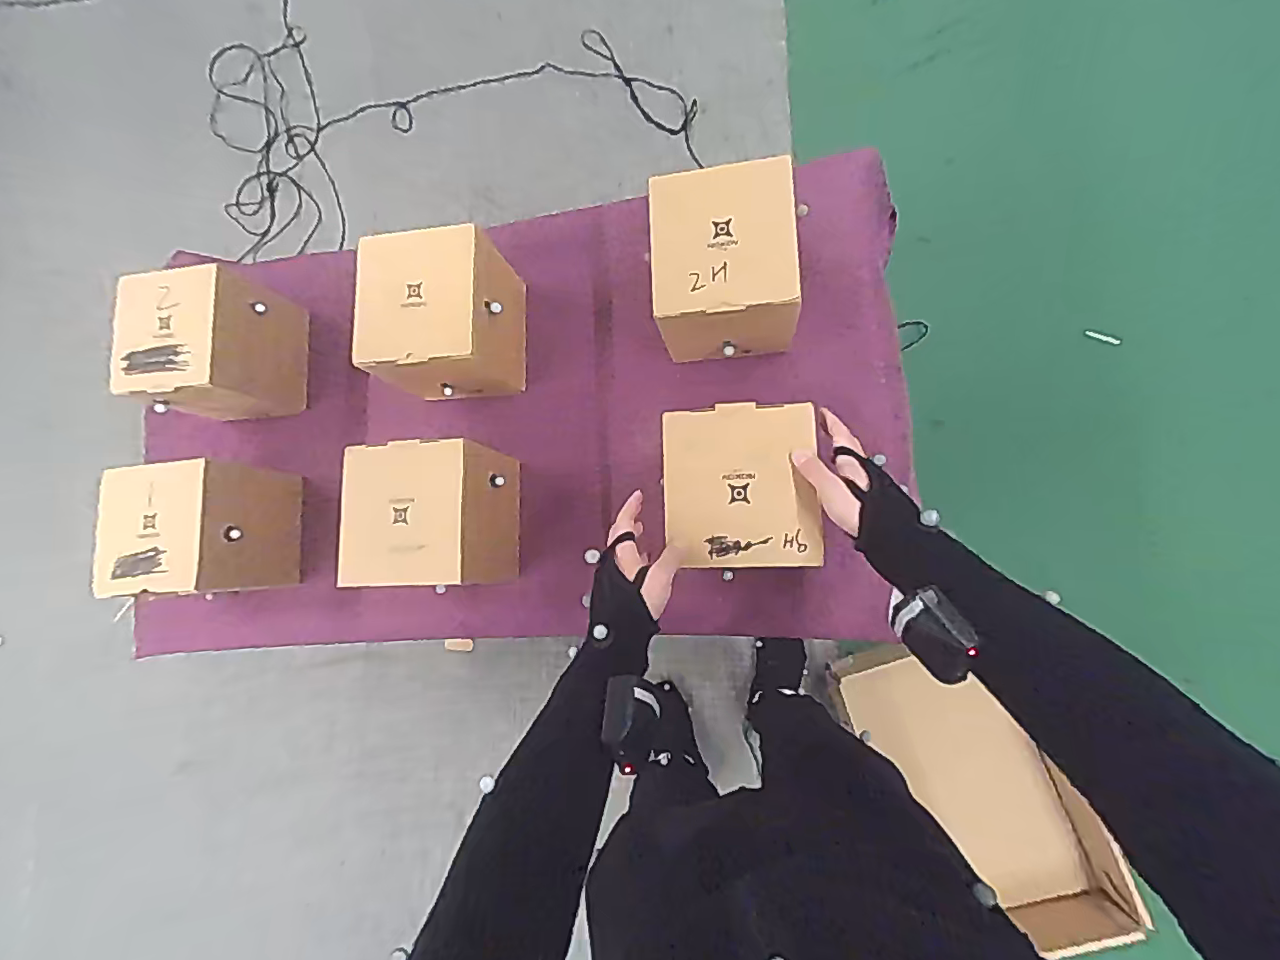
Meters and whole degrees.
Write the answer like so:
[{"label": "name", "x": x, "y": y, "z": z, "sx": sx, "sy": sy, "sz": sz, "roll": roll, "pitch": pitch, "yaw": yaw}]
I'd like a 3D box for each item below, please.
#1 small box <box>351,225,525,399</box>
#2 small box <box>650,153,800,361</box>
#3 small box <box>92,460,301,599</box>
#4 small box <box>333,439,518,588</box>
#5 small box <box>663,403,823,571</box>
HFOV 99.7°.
[{"label": "small box", "x": -0.270, "y": -0.222, "z": 0.755, "sx": 0.168, "sy": 0.176, "sz": 0.179, "roll": -2, "pitch": 84, "yaw": 10}, {"label": "small box", "x": 0.108, "y": -0.265, "z": 0.682, "sx": 0.168, "sy": 0.176, "sz": 0.179, "roll": -3, "pitch": 84, "yaw": 13}, {"label": "small box", "x": -0.628, "y": 0.075, "z": 0.785, "sx": 0.168, "sy": 0.176, "sz": 0.179, "roll": -5, "pitch": 81, "yaw": 10}, {"label": "small box", "x": -0.272, "y": 0.051, "z": 0.721, "sx": 0.168, "sy": 0.176, "sz": 0.179, "roll": -2, "pitch": 82, "yaw": 12}, {"label": "small box", "x": 0.119, "y": 0.019, "z": 0.646, "sx": 0.168, "sy": 0.176, "sz": 0.179, "roll": -3, "pitch": 81, "yaw": 11}]
